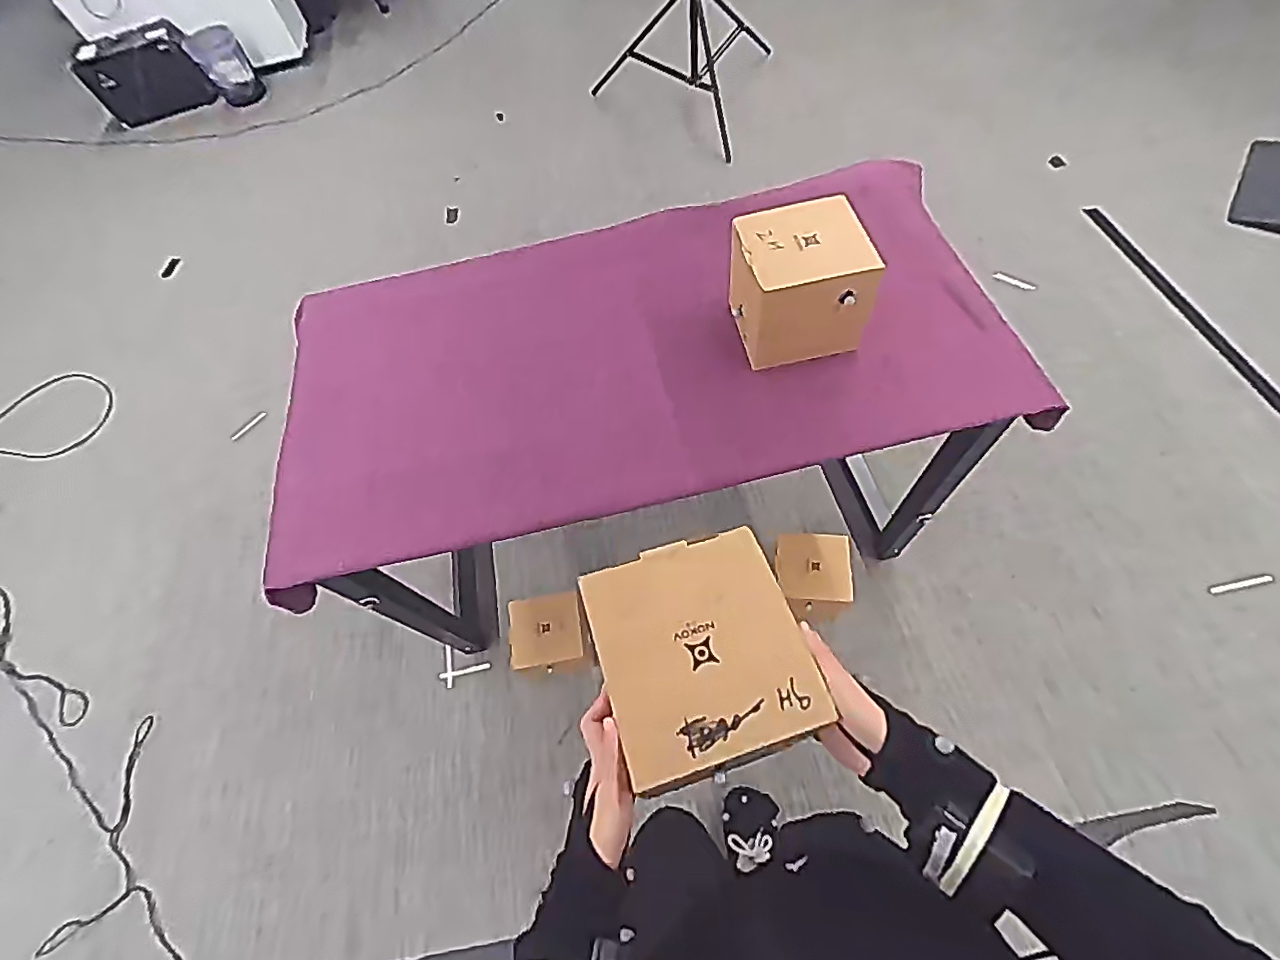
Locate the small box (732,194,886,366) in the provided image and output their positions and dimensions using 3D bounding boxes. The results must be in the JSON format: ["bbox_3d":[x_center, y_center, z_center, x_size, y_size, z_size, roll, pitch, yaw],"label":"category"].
[{"bbox_3d":[0.248,-0.304,0.843,0.179,0.176,0.168,-12,61,2],"label":"small box"}]

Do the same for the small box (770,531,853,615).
[{"bbox_3d":[0.426,0.239,1.367,0.179,0.176,0.168,2,63,10],"label":"small box"}]

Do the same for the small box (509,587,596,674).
[{"bbox_3d":[-0.219,0.387,1.373,0.179,0.176,0.168,-11,63,0],"label":"small box"}]

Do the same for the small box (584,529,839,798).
[{"bbox_3d":[0.052,0.177,0.508,0.168,0.176,0.179,-16,58,-7],"label":"small box"}]
